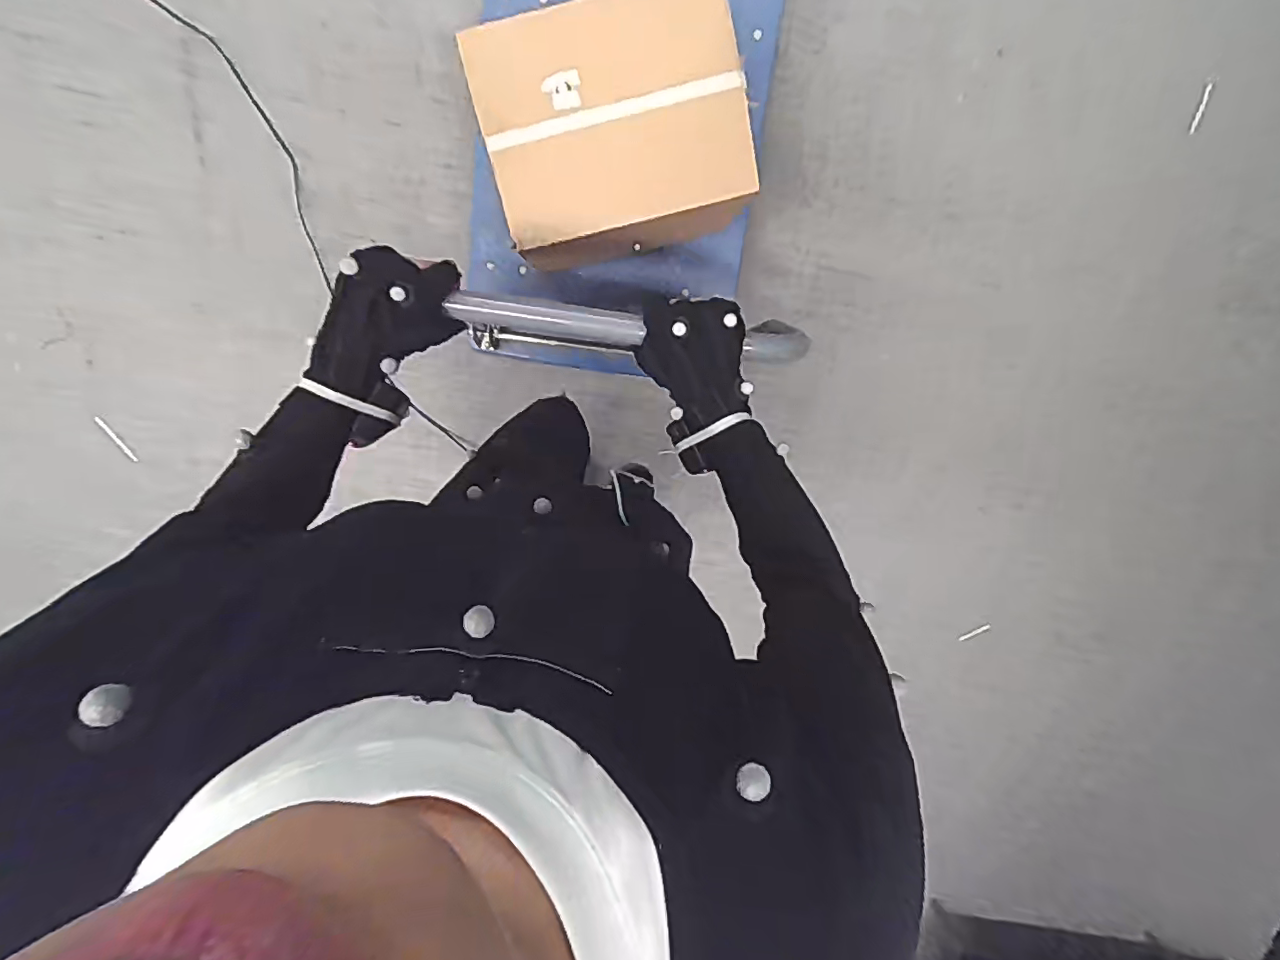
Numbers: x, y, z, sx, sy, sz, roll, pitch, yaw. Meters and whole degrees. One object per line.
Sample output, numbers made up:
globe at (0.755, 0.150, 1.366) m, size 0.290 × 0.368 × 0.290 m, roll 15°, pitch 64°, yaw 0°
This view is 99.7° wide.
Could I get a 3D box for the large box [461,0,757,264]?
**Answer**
large box at (-0.042, -0.605, 0.968) m, size 0.408 × 0.320 × 0.320 m, roll -13°, pitch 105°, yaw 2°
